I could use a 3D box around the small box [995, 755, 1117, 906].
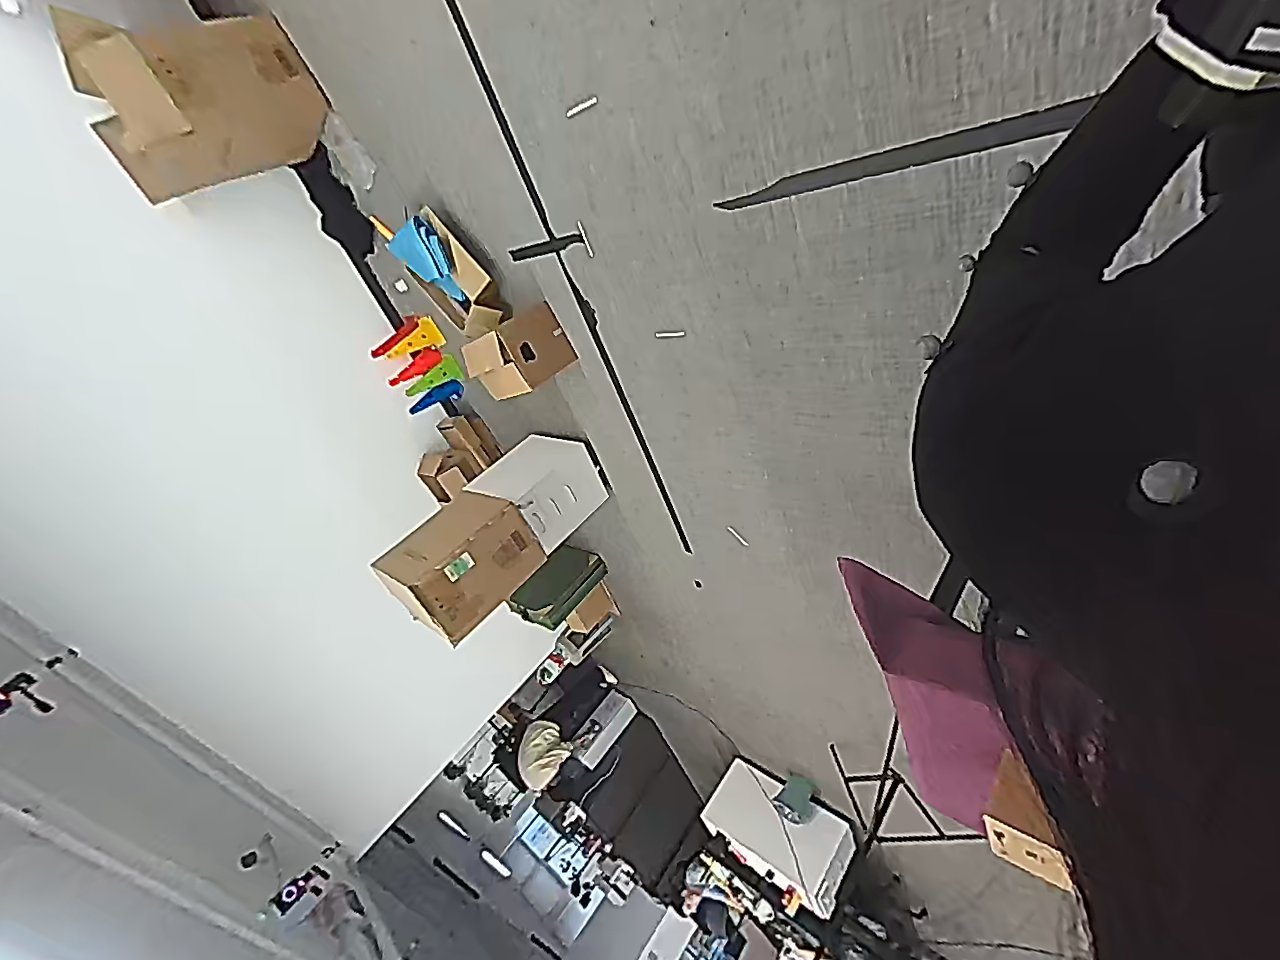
[{"bbox_3d":[0.861,0.708,1.113,0.179,0.176,0.168,5,131,48],"label":"small box"}]
